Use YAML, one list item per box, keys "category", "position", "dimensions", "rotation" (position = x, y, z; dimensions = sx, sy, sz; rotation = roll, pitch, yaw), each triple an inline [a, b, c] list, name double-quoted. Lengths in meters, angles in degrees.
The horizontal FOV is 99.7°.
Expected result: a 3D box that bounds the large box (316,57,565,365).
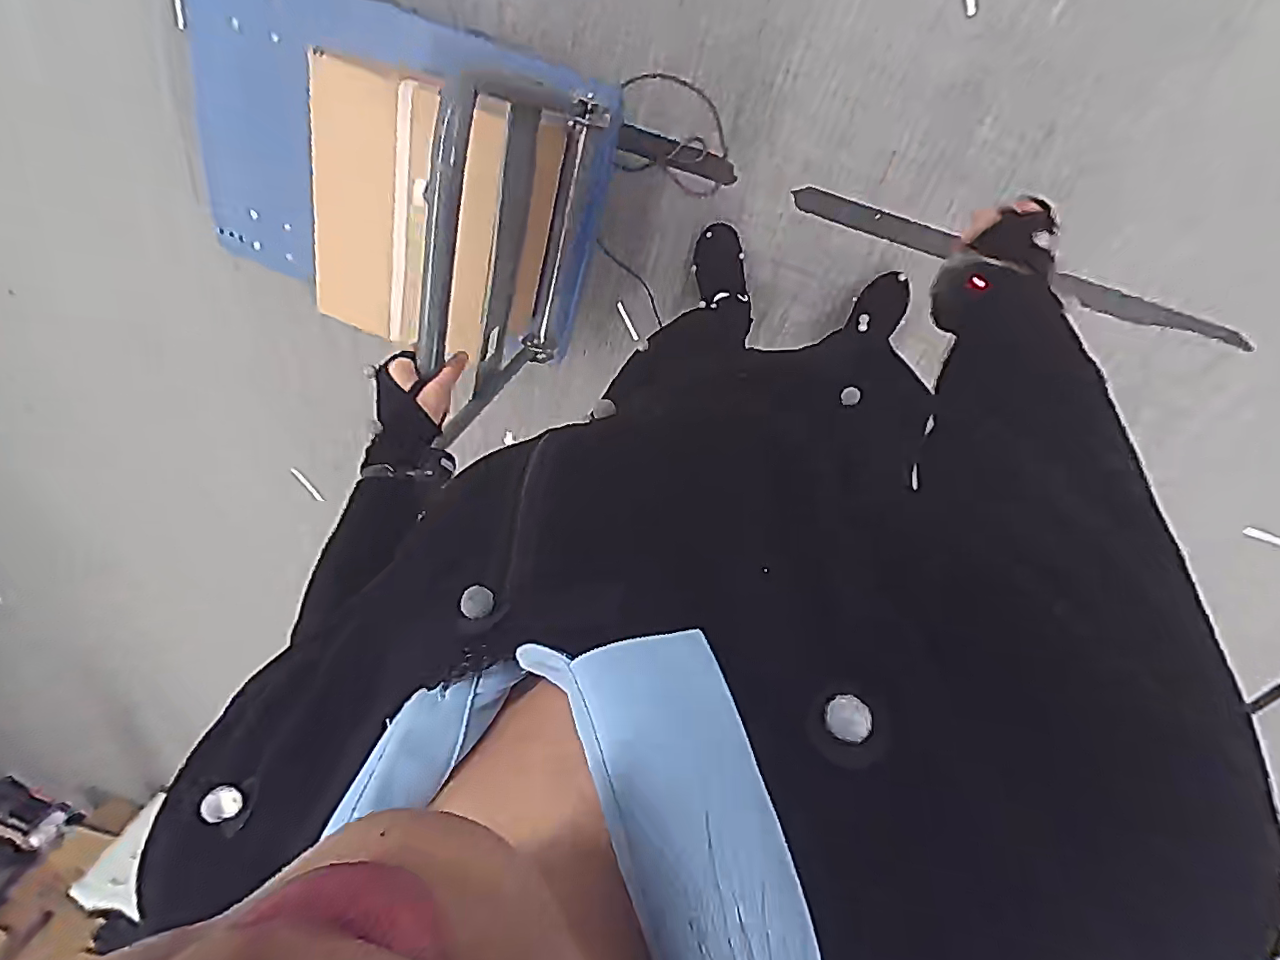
- category: "large box"
  position: [-0.366, -0.493, 1.031]
  dimensions: [0.320, 0.320, 0.408]
  rotation: [19, 122, -1]
